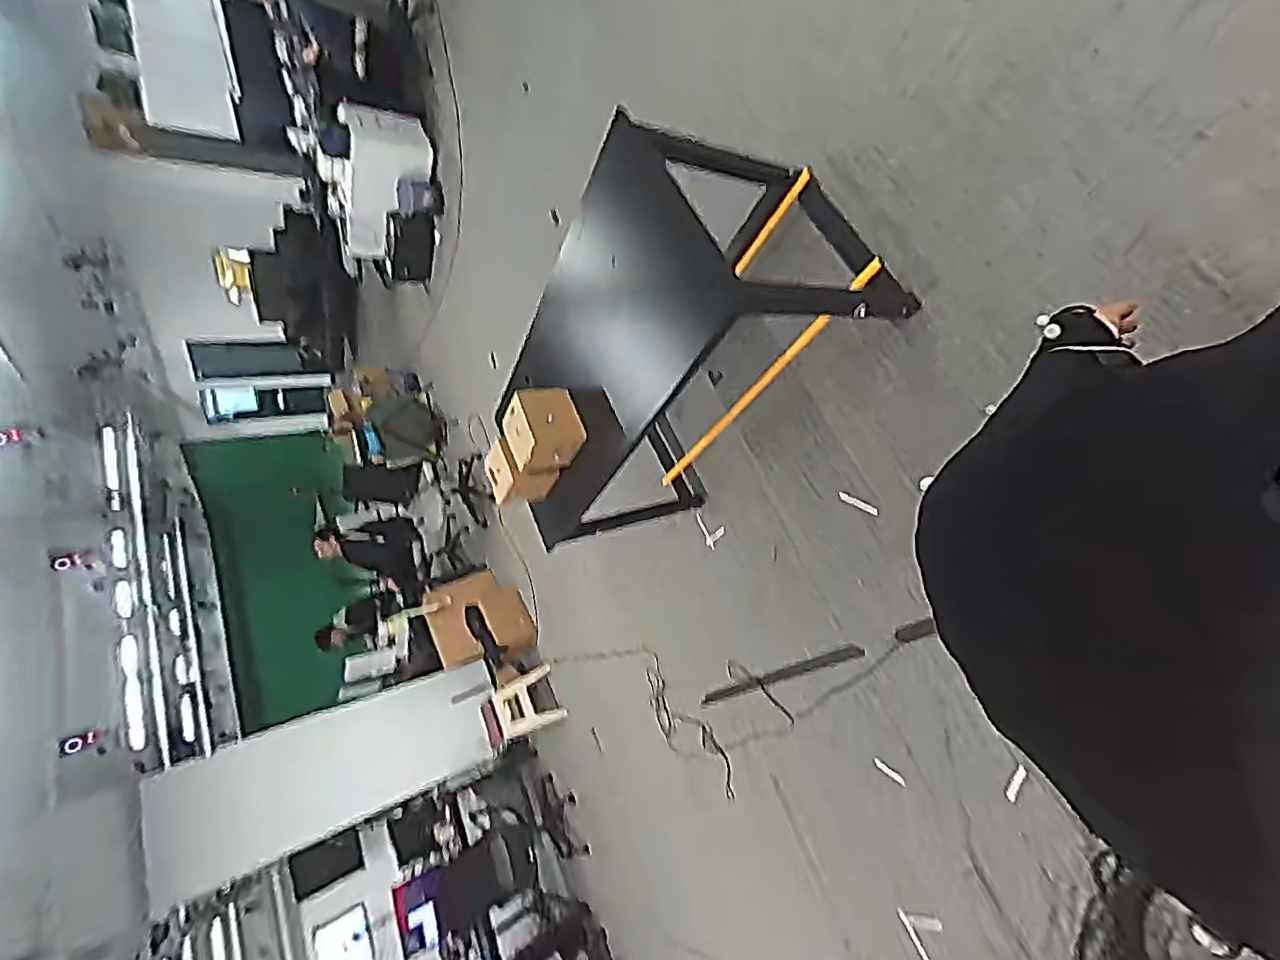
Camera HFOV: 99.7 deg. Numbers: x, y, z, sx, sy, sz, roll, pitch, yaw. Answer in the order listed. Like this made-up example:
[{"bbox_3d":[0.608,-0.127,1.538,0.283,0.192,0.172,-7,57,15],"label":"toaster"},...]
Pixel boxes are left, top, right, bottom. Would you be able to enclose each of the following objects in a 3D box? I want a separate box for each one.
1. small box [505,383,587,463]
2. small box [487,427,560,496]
[{"bbox_3d":[-0.280,-0.175,1.618,0.168,0.176,0.179,-48,61,48],"label":"small box"},{"bbox_3d":[-0.385,-0.068,1.796,0.179,0.176,0.168,-48,61,48],"label":"small box"}]
